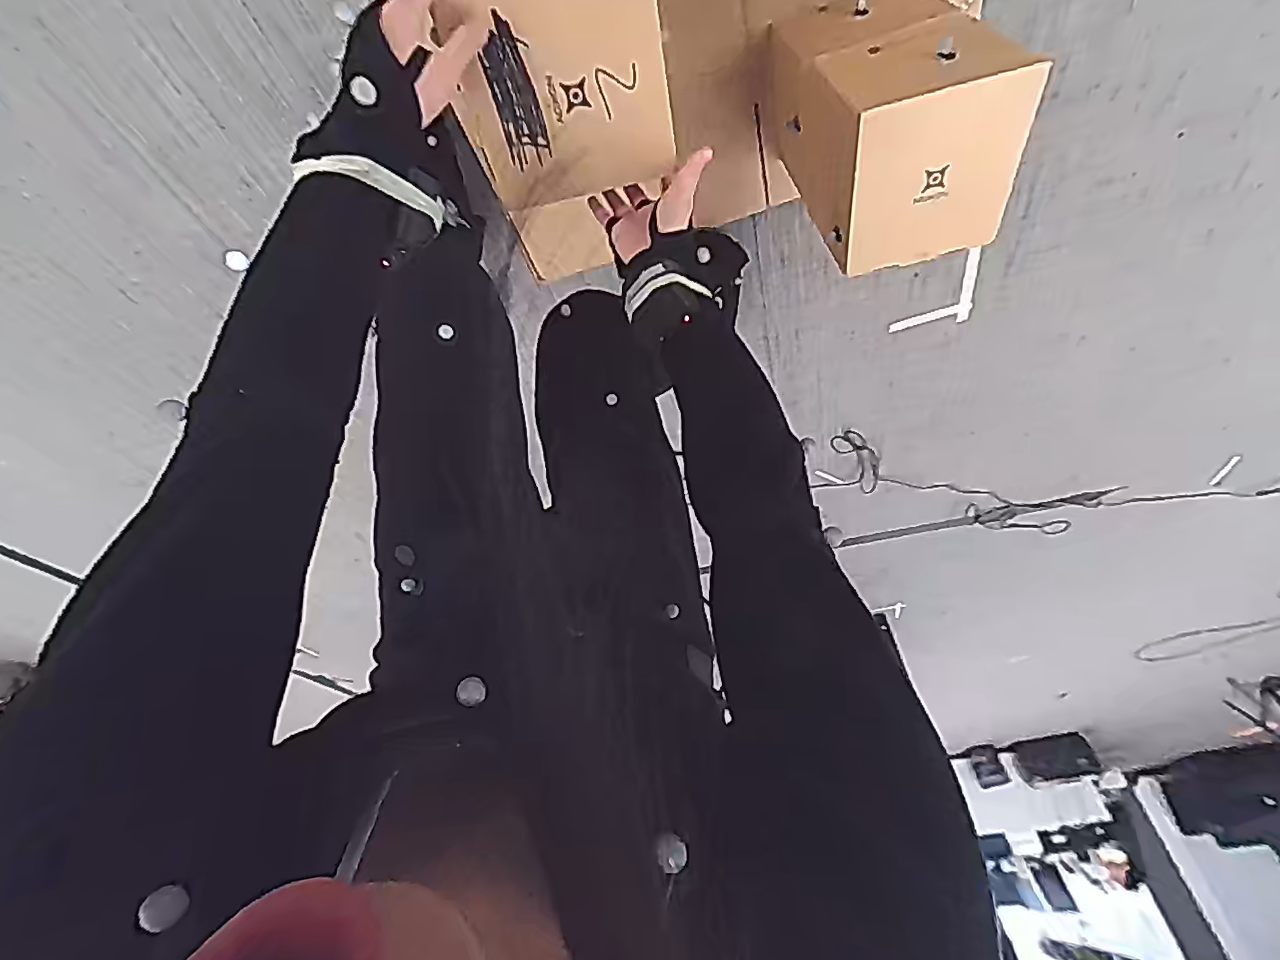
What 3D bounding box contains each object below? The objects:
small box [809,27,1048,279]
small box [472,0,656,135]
[{"bbox_3d":[0.290,-0.361,0.595,0.168,0.176,0.179,-11,142,7],"label":"small box"},{"bbox_3d":[-0.078,-0.521,0.609,0.179,0.176,0.168,-7,142,4],"label":"small box"}]
